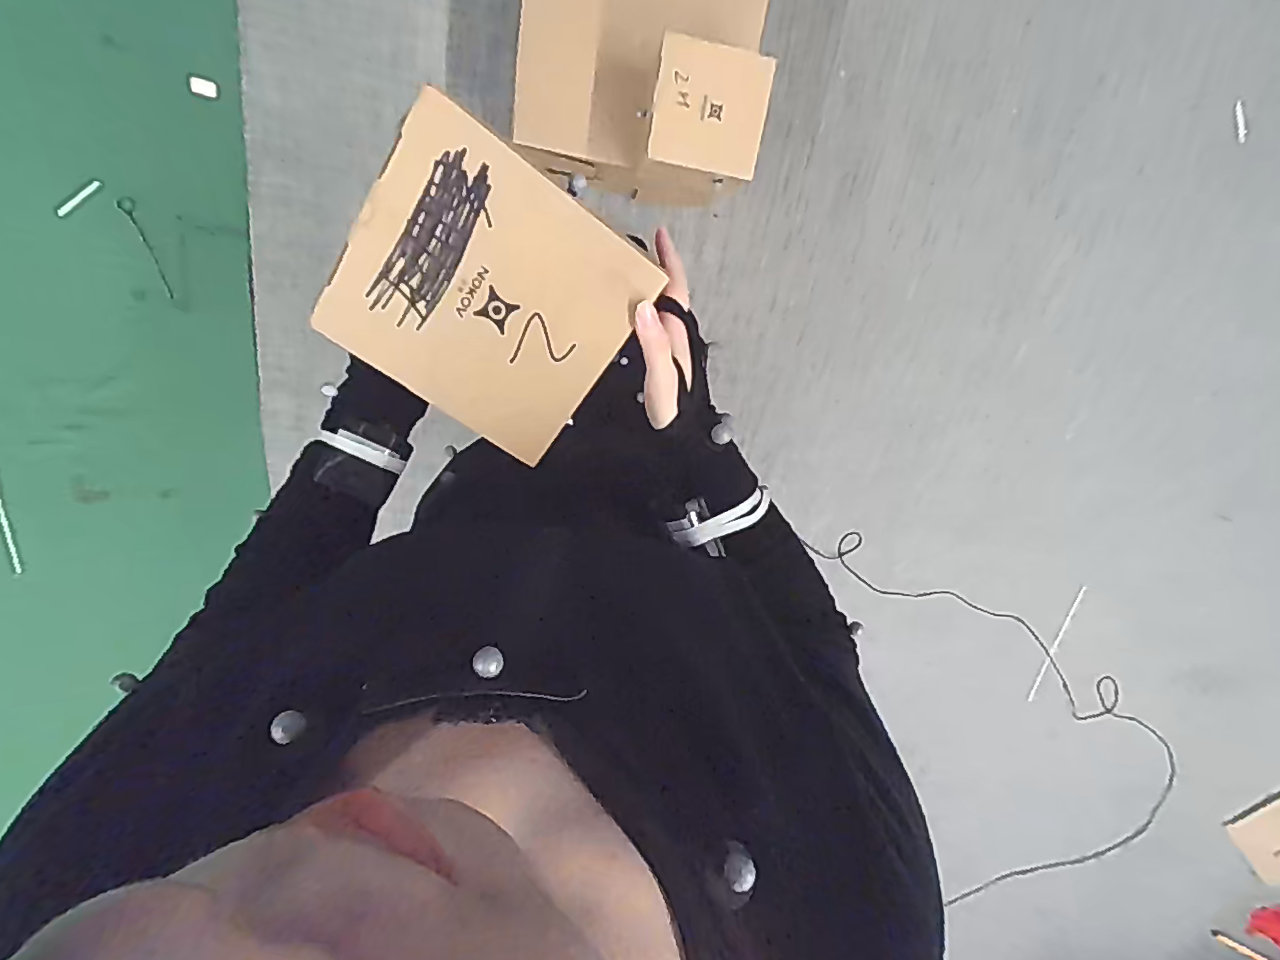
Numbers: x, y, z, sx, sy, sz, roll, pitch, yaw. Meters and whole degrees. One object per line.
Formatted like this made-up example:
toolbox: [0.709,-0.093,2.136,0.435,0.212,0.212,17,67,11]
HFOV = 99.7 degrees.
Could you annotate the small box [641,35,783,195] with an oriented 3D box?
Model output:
small box: [0.106,-0.582,0.890,0.179,0.176,0.168,8,109,-8]
